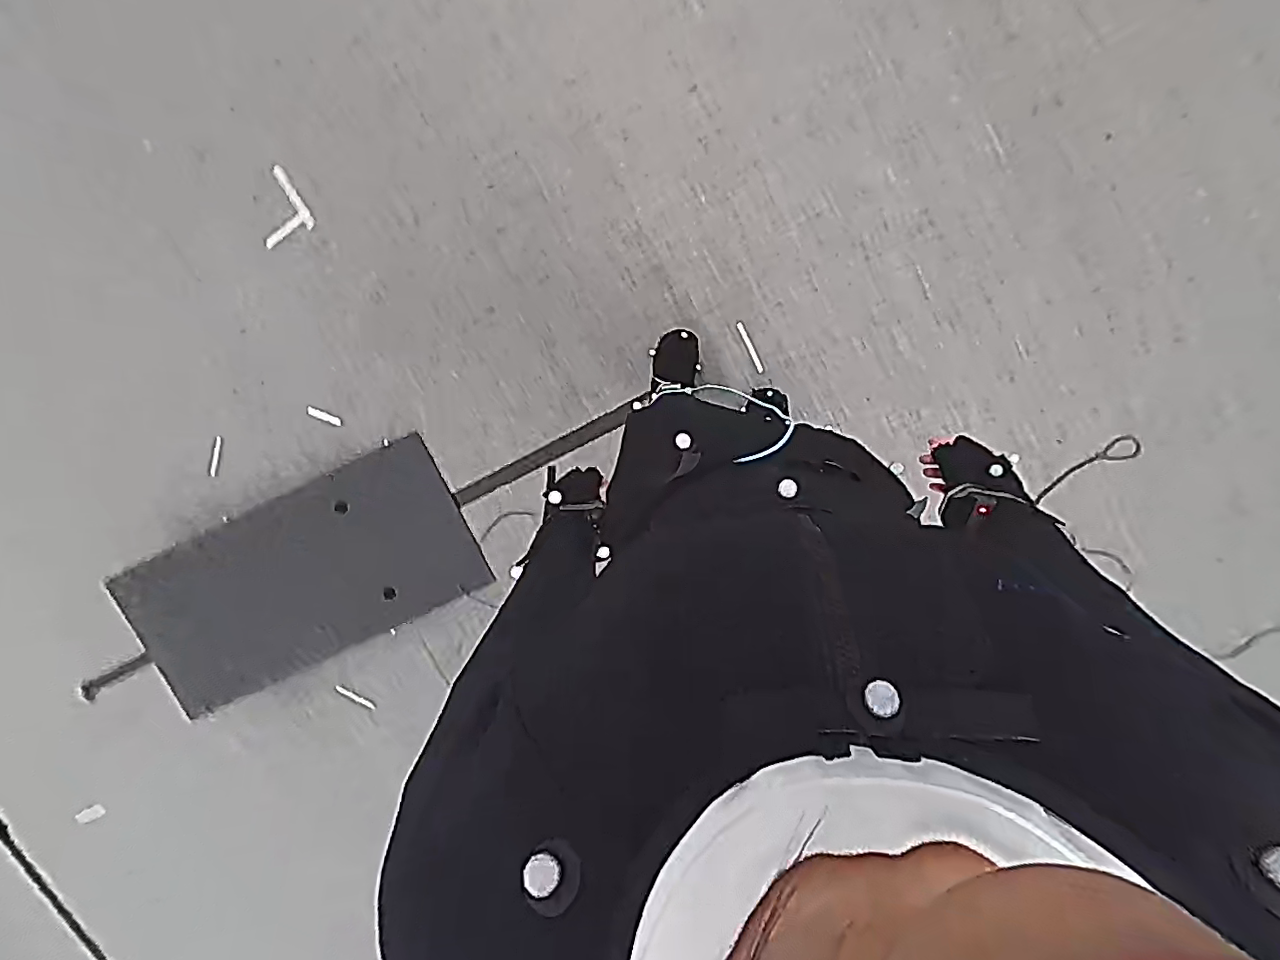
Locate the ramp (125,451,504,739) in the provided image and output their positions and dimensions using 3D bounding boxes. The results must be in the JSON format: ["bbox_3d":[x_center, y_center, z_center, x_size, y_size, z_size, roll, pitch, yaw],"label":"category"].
[{"bbox_3d":[-0.951,0.341,1.592,0.991,0.206,0.509,-27,95,11],"label":"ramp"}]
